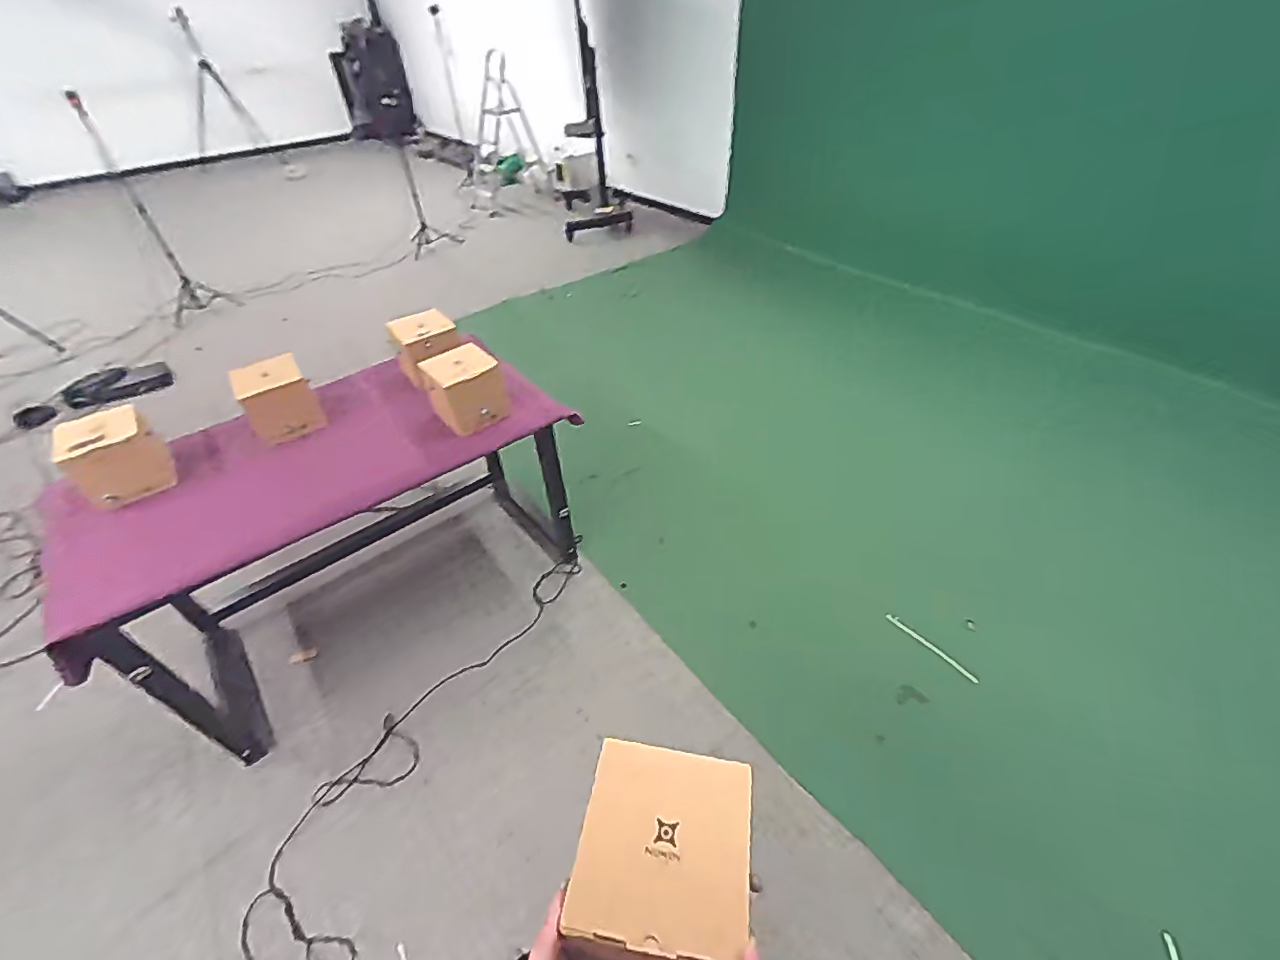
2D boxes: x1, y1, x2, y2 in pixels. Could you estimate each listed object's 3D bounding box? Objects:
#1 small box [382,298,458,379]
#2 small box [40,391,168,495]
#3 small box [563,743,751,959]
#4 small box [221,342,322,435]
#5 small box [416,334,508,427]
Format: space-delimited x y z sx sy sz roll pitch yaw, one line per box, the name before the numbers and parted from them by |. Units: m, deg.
small box | -0.675 -0.442 1.691 0.168 0.176 0.179 -30 50 -25
small box | -1.314 -0.084 1.336 0.168 0.176 0.179 -28 50 -26
small box | 0.021 0.418 0.577 0.168 0.176 0.179 8 39 6
small box | -1.025 -0.254 1.510 0.168 0.176 0.179 -28 51 -24
small box | -0.494 -0.277 1.509 0.168 0.176 0.179 -31 51 -25
